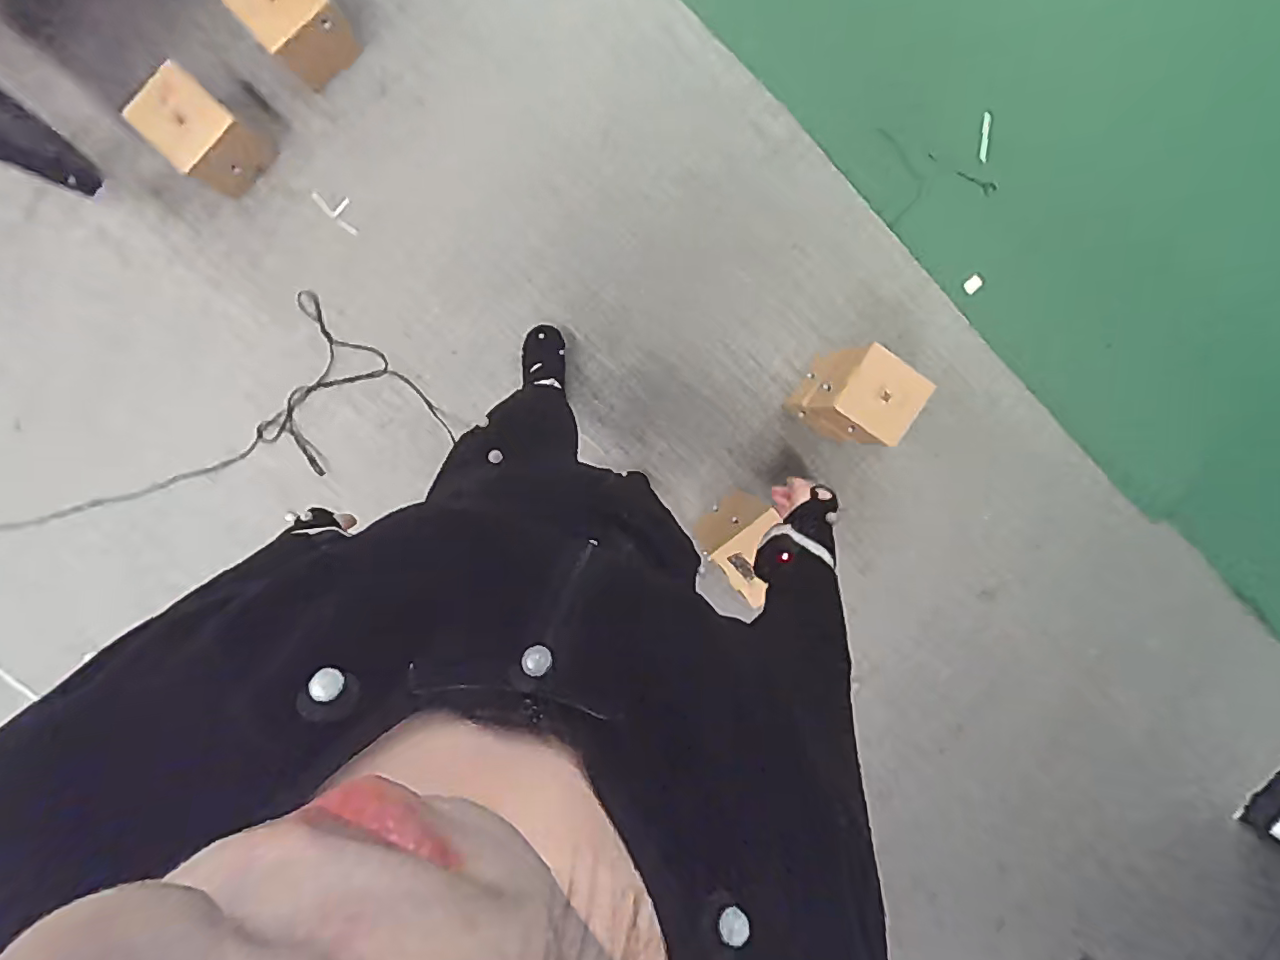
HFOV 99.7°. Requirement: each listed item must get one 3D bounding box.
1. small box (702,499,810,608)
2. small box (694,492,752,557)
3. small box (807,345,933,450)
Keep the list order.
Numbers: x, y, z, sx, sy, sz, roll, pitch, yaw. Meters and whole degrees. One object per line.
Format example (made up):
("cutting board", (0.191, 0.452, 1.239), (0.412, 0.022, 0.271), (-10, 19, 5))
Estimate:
("small box", (0.262, 0.166, 1.280), (0.179, 0.176, 0.168), (-38, 97, 1))
("small box", (0.258, 0.153, 1.445), (0.179, 0.176, 0.168), (-38, 98, 2))
("small box", (0.520, -0.187, 1.253), (0.179, 0.176, 0.168), (34, 95, -7))
